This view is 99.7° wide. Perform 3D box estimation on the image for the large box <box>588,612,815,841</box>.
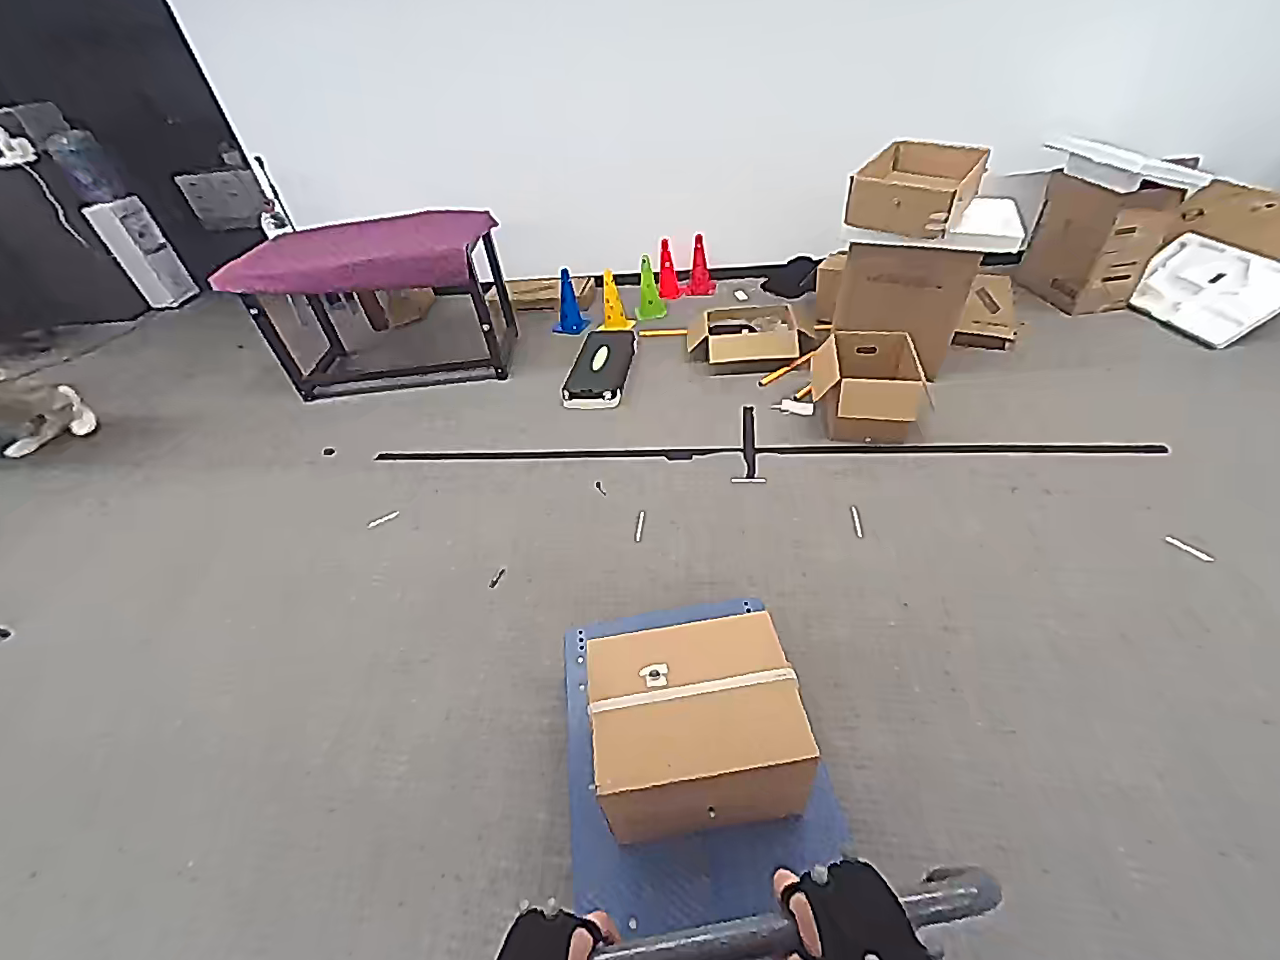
[{"bbox_3d":[0.121,0.535,1.177,0.408,0.320,0.320,-11,41,-1],"label":"large box"}]
